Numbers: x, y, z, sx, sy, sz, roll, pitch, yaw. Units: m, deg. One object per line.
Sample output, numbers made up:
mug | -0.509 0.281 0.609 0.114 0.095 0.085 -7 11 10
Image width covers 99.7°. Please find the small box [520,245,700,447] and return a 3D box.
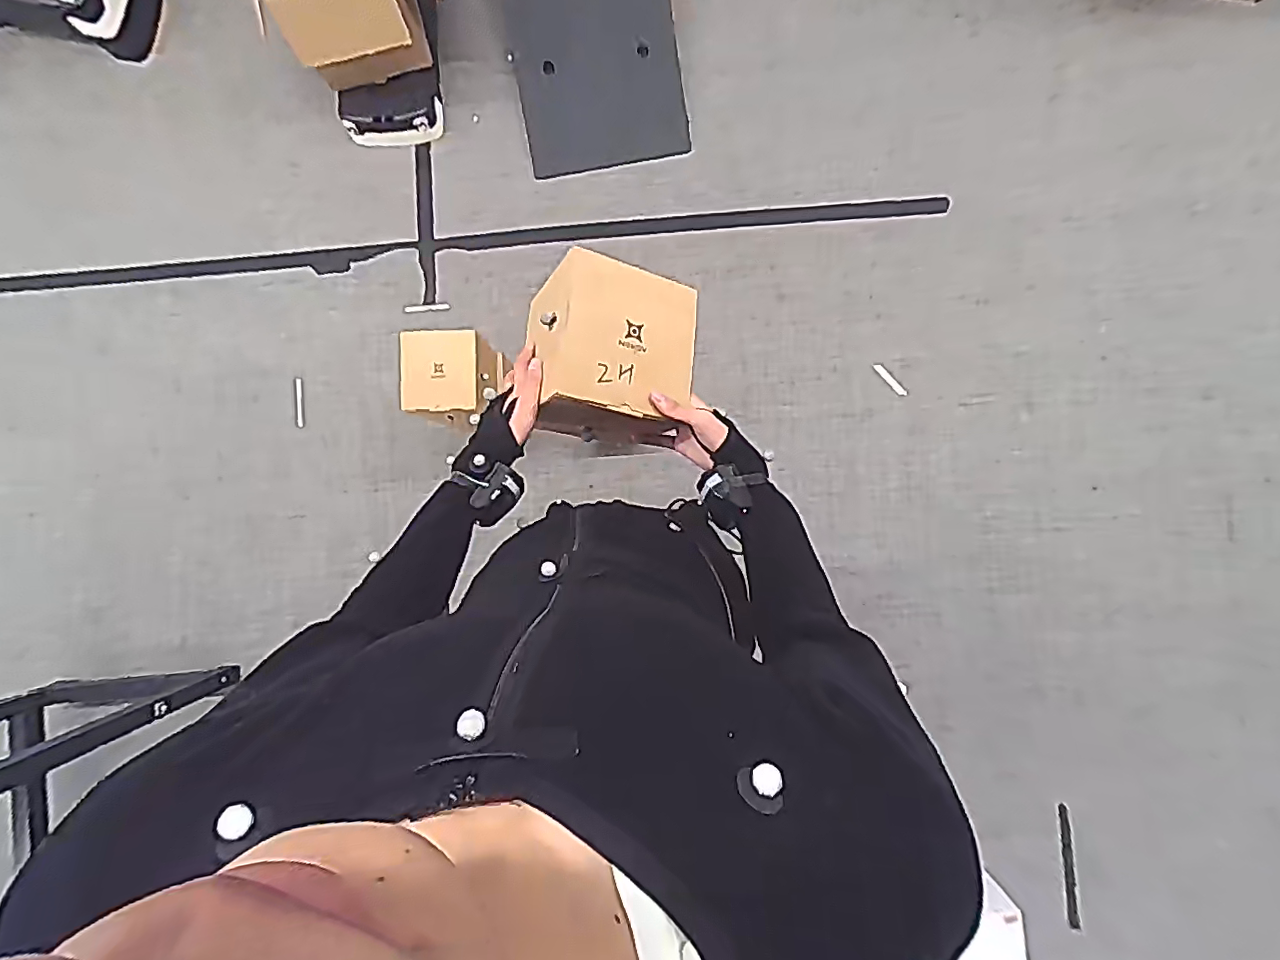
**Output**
small box | -0.043 -0.151 0.679 0.168 0.176 0.179 10 79 -26

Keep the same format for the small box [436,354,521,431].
small box | -0.416 -0.221 1.404 0.179 0.176 0.168 -3 89 0

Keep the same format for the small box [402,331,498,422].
small box | -0.429 -0.231 1.242 0.168 0.176 0.179 -1 89 1
